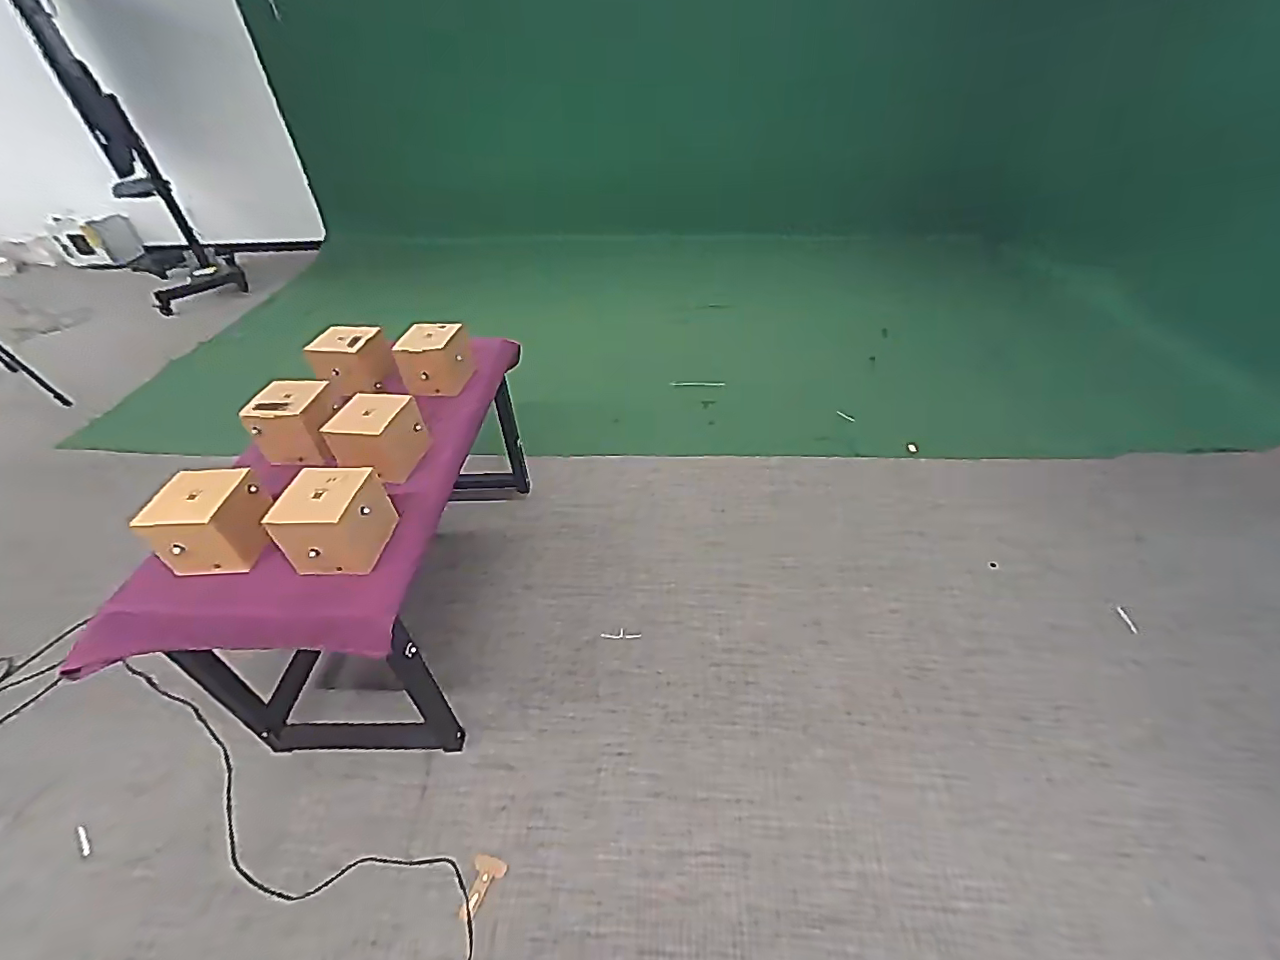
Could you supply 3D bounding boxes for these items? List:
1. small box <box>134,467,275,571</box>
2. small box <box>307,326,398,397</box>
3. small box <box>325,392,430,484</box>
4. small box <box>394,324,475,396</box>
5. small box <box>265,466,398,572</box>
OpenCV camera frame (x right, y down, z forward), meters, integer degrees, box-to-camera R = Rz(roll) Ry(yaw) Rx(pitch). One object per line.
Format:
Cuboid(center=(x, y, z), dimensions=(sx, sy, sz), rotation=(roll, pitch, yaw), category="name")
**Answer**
Cuboid(center=(-0.952, 0.092, 1.217), dimensions=(0.168, 0.176, 0.179), rotation=(-2, 40, 0), category="small box")
Cuboid(center=(-0.921, -0.382, 1.751), dimensions=(0.179, 0.176, 0.168), rotation=(3, 42, 8), category="small box")
Cuboid(center=(-0.683, -0.113, 1.435), dimensions=(0.168, 0.176, 0.179), rotation=(4, 43, 10), category="small box")
Cuboid(center=(-0.649, -0.385, 1.739), dimensions=(0.168, 0.176, 0.179), rotation=(3, 43, 7), category="small box")
Cuboid(center=(-0.668, 0.088, 1.200), dimensions=(0.168, 0.176, 0.179), rotation=(0, 41, 5), category="small box")
